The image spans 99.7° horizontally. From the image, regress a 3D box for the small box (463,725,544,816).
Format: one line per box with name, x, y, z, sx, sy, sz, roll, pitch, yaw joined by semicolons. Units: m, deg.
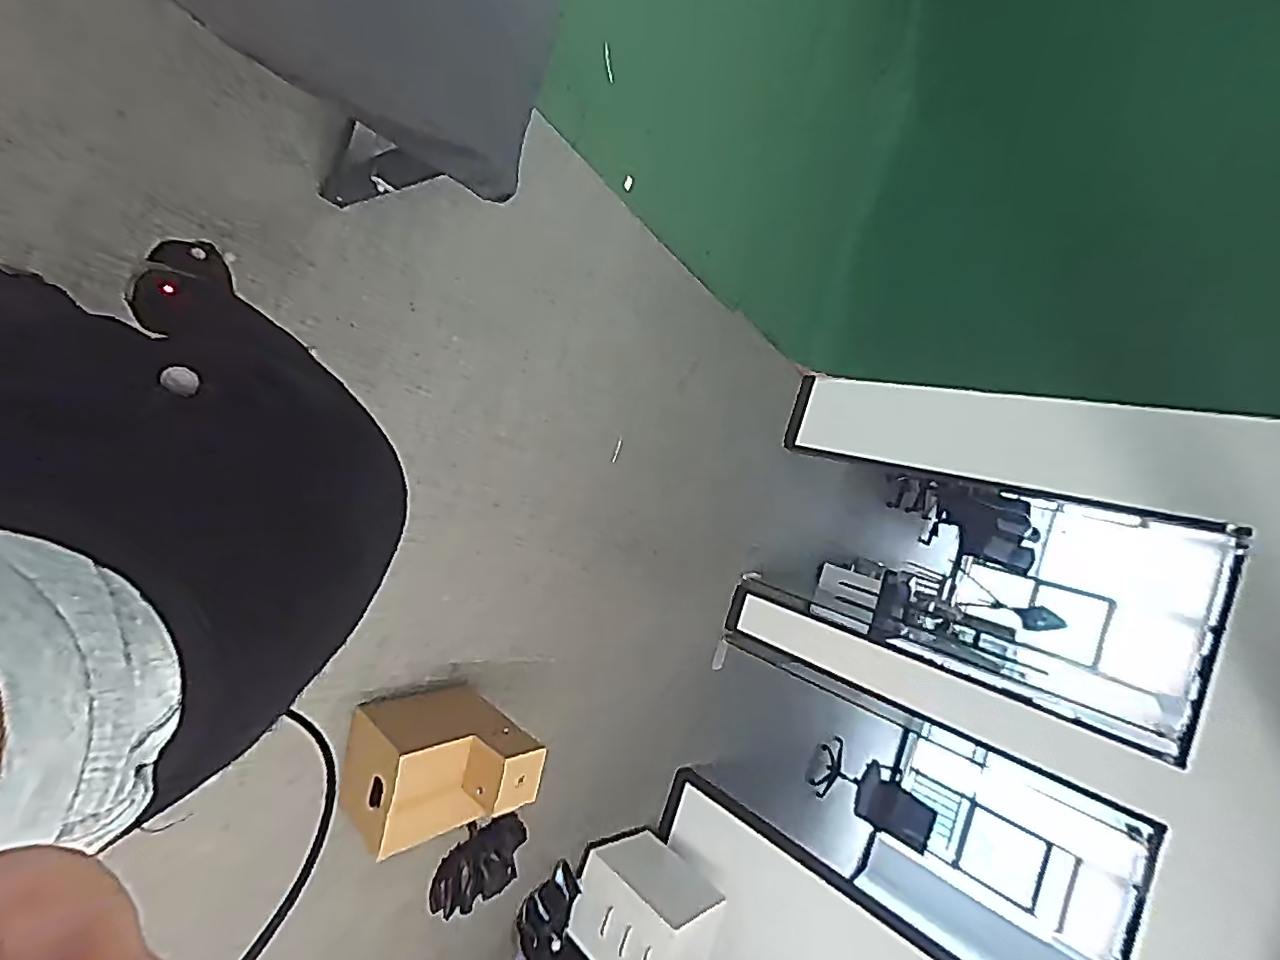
small box;-0.429;0.896;1.686;0.168;0.176;0.179;13;87;-51
